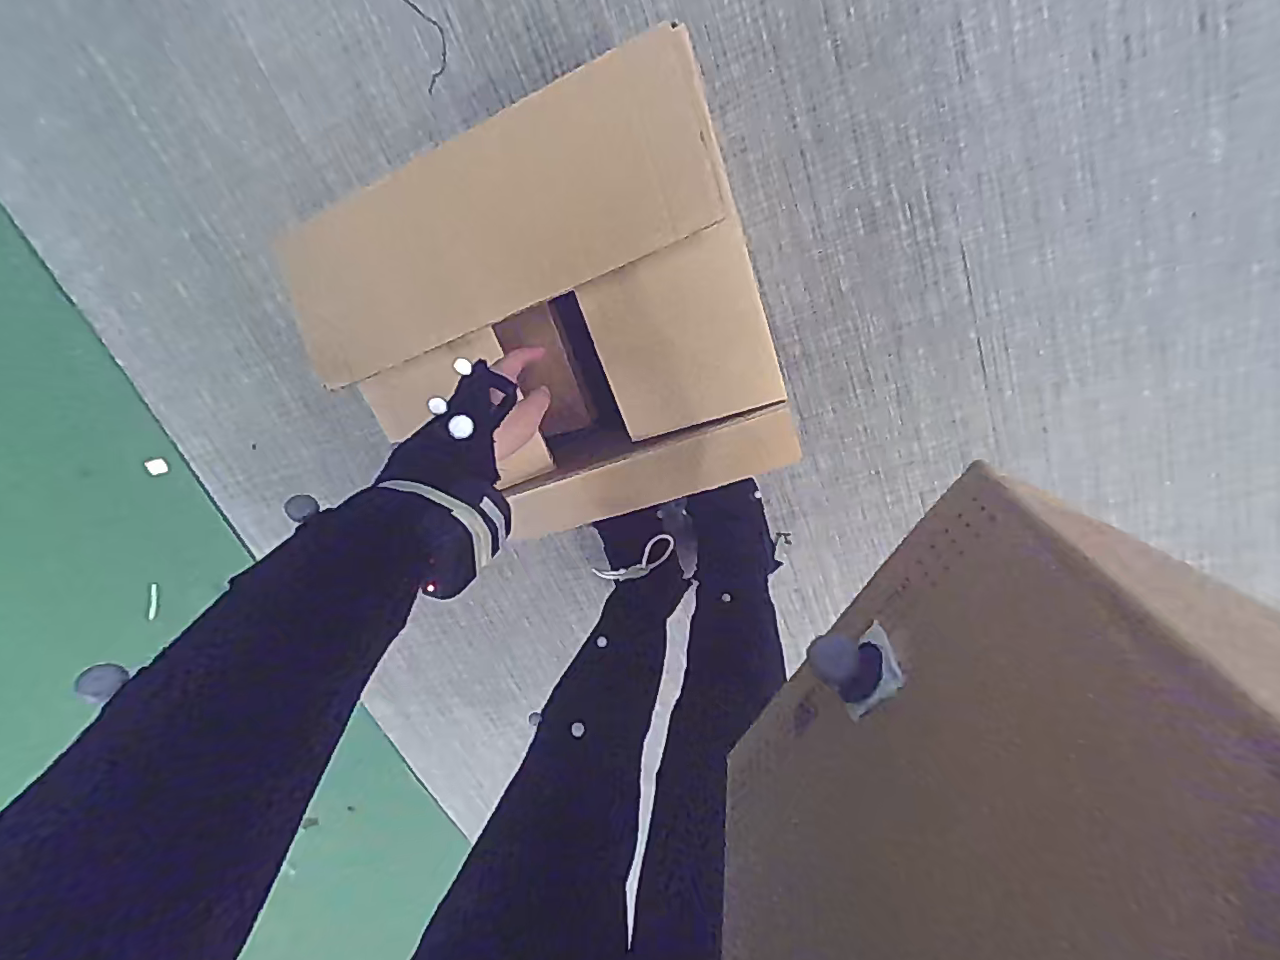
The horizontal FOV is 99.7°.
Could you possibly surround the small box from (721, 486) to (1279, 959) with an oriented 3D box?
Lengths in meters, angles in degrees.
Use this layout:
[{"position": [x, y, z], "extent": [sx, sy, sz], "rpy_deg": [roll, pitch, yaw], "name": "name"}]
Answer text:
[{"position": [0.135, 0.125, 0.147], "extent": [0.179, 0.176, 0.168], "rpy_deg": [26, 113, 0], "name": "small box"}]
